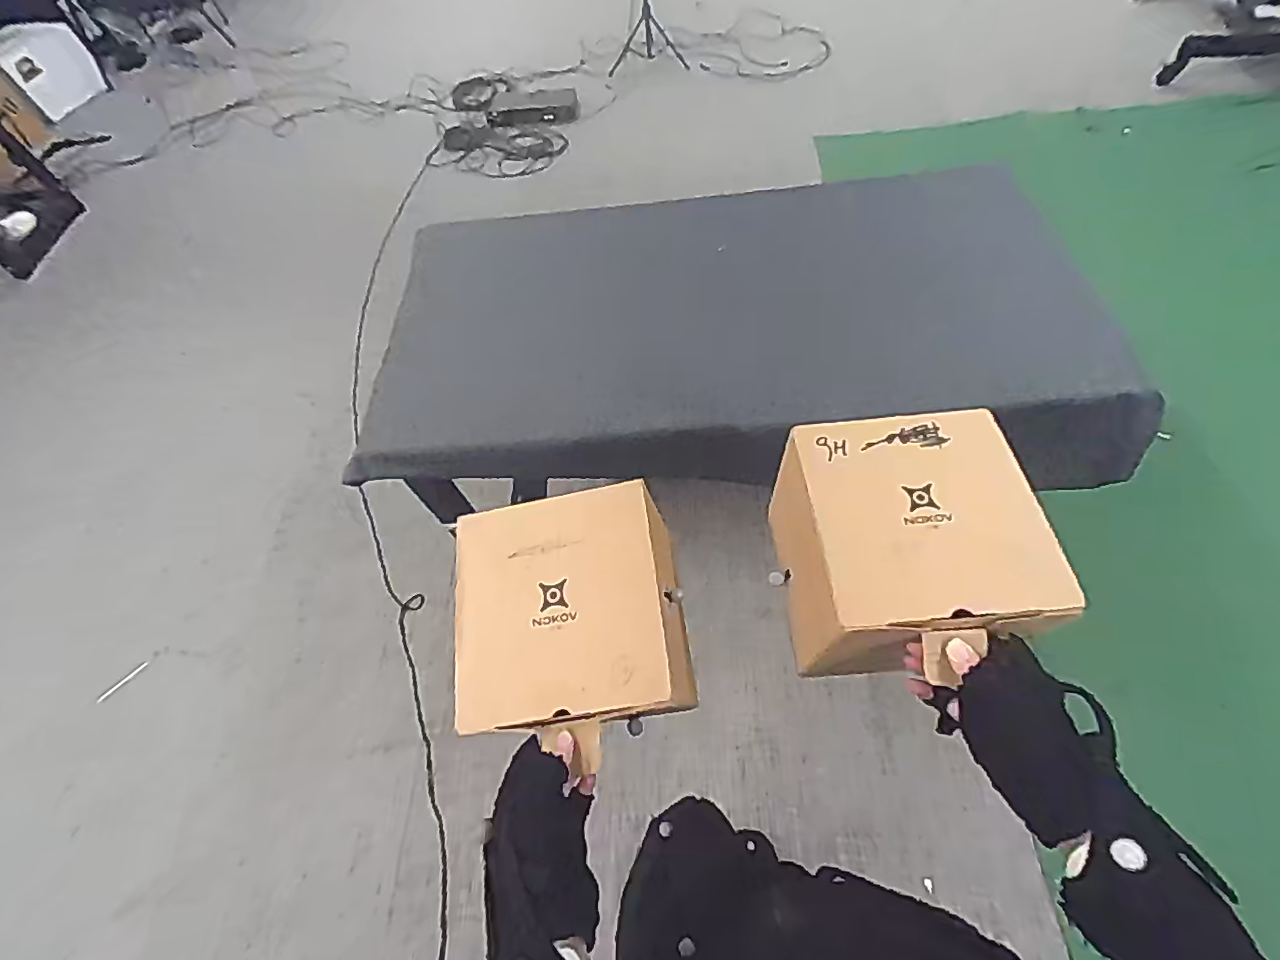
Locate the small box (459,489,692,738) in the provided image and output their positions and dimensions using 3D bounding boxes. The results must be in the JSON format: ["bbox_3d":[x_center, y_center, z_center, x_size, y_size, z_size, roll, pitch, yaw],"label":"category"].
[{"bbox_3d":[-0.052,0.132,0.505,0.168,0.176,0.179,-12,64,6],"label":"small box"}]
